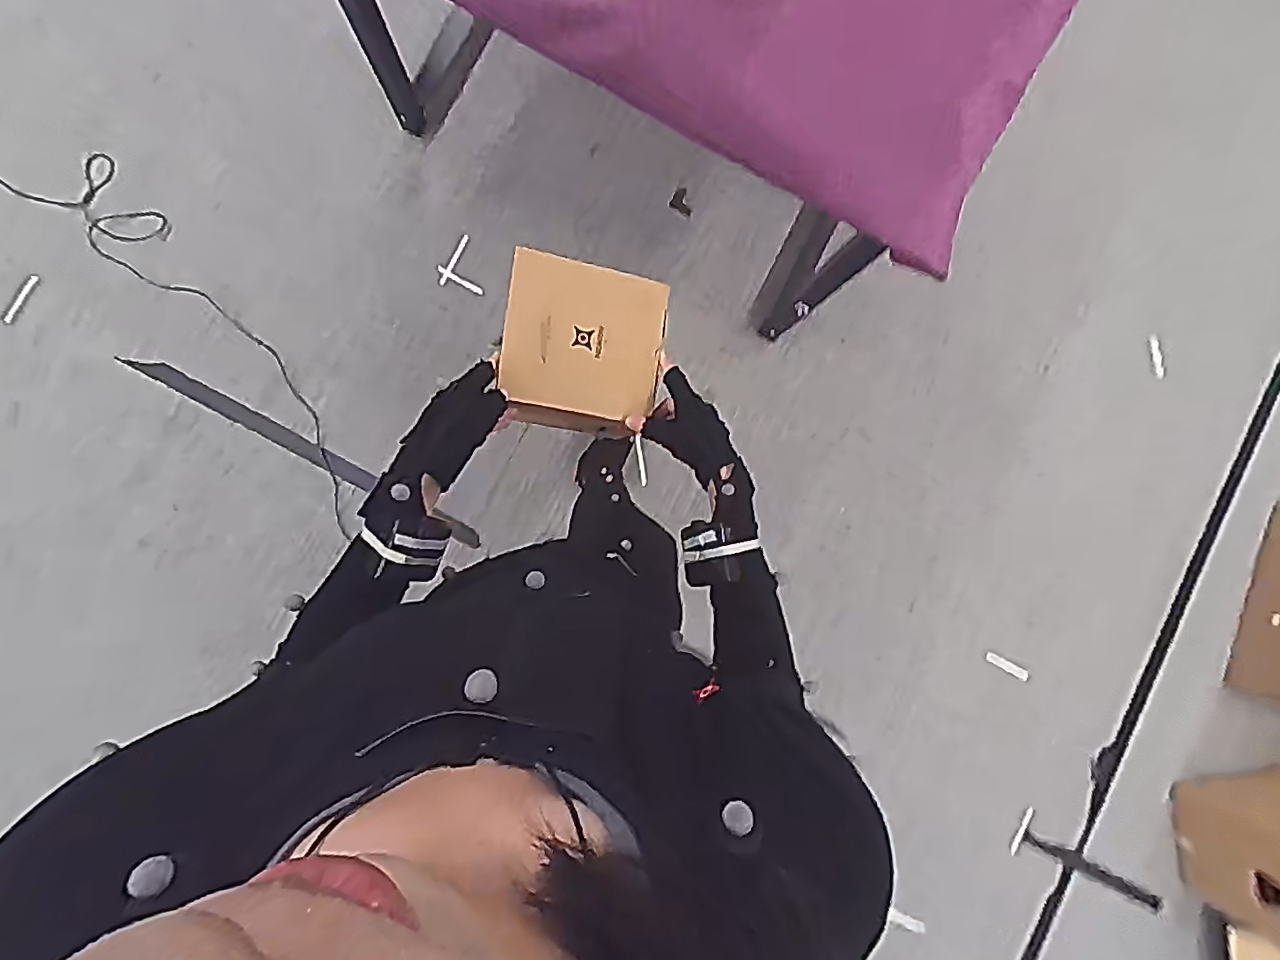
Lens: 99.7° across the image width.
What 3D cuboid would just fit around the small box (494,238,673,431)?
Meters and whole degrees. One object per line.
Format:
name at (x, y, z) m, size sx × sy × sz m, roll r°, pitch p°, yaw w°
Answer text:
small box at (-0.076, -0.157, 0.653) m, size 0.179 × 0.176 × 0.168 m, roll 8°, pitch 86°, yaw -15°
